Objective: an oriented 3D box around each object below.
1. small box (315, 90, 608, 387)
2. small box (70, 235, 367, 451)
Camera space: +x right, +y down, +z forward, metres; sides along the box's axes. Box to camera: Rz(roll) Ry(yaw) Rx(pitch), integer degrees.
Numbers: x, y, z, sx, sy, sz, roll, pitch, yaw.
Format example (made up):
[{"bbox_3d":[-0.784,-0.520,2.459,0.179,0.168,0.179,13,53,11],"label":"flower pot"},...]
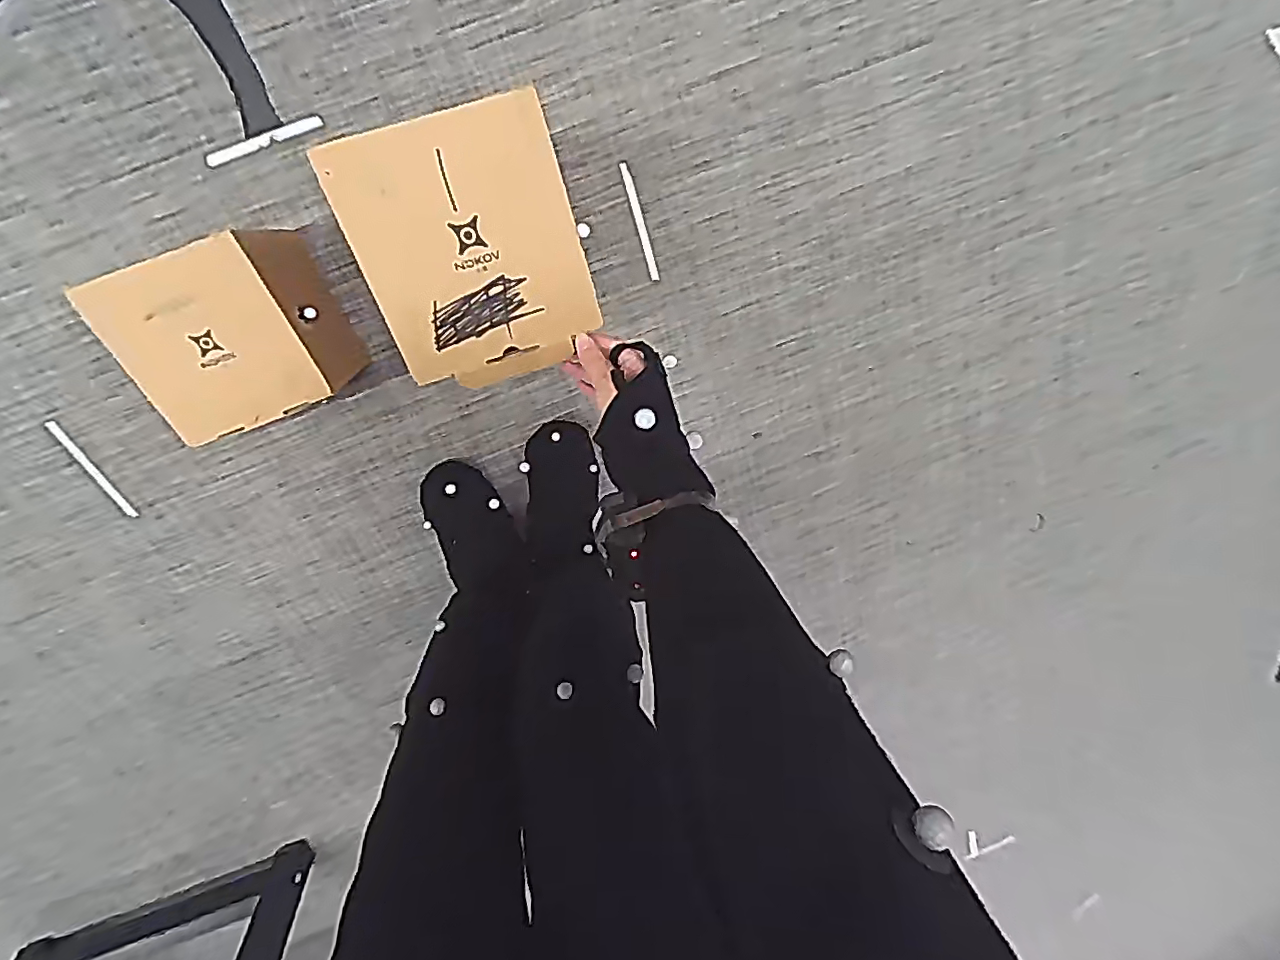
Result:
[{"bbox_3d":[-0.137,-0.206,0.477,0.168,0.176,0.179,-19,117,-4],"label":"small box"},{"bbox_3d":[-0.444,-0.164,0.613,0.168,0.176,0.179,-23,117,-3],"label":"small box"}]
